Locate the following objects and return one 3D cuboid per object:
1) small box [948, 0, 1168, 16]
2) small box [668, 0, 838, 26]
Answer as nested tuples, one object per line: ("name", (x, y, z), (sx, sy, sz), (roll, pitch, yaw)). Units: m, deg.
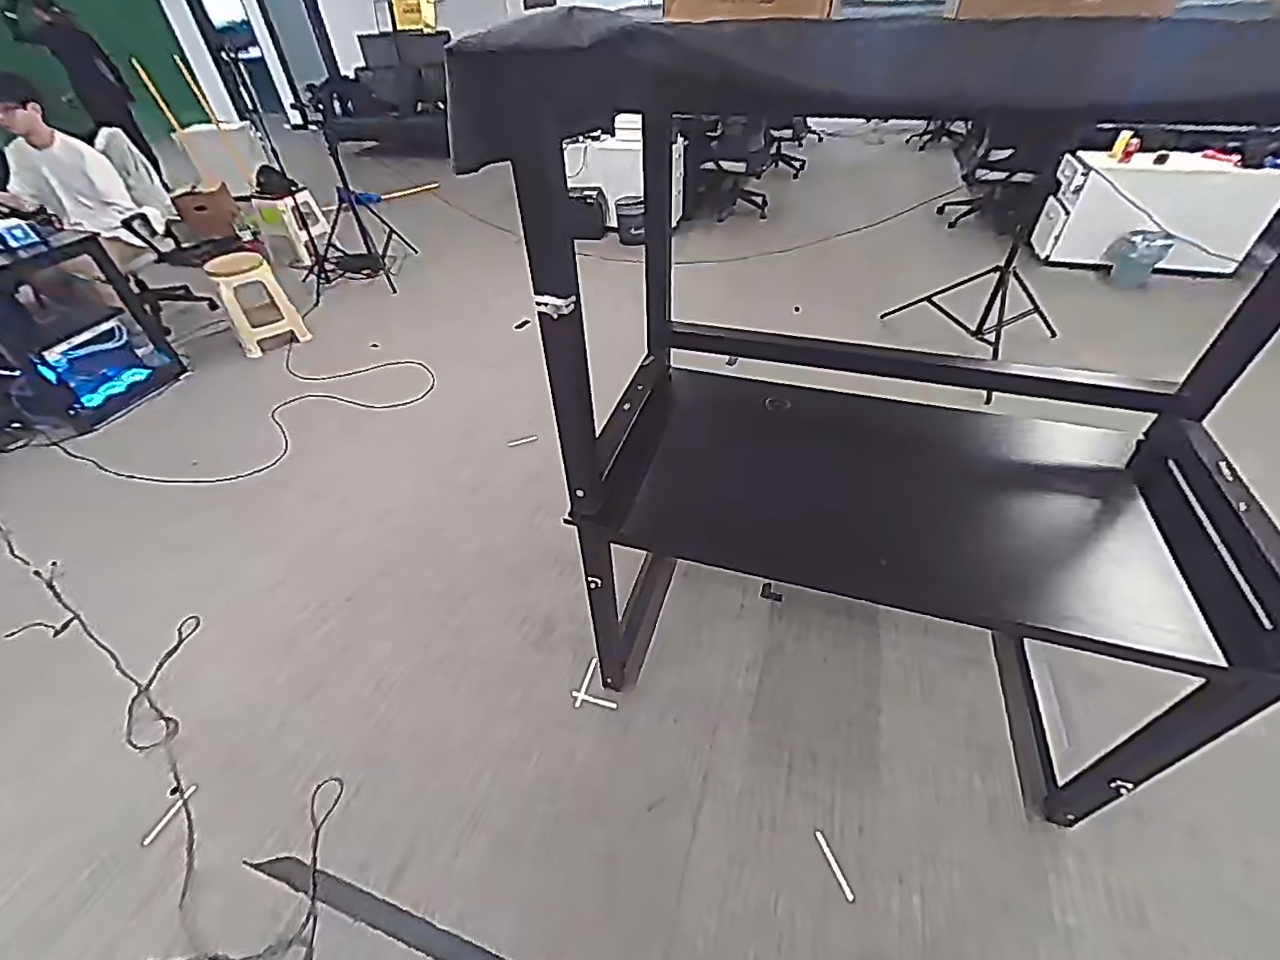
("small box", (0.386, -0.518, 0.469), (0.168, 0.176, 0.179), (12, 42, 15))
("small box", (0.126, -0.567, 0.536), (0.168, 0.176, 0.179), (11, 43, 13))
